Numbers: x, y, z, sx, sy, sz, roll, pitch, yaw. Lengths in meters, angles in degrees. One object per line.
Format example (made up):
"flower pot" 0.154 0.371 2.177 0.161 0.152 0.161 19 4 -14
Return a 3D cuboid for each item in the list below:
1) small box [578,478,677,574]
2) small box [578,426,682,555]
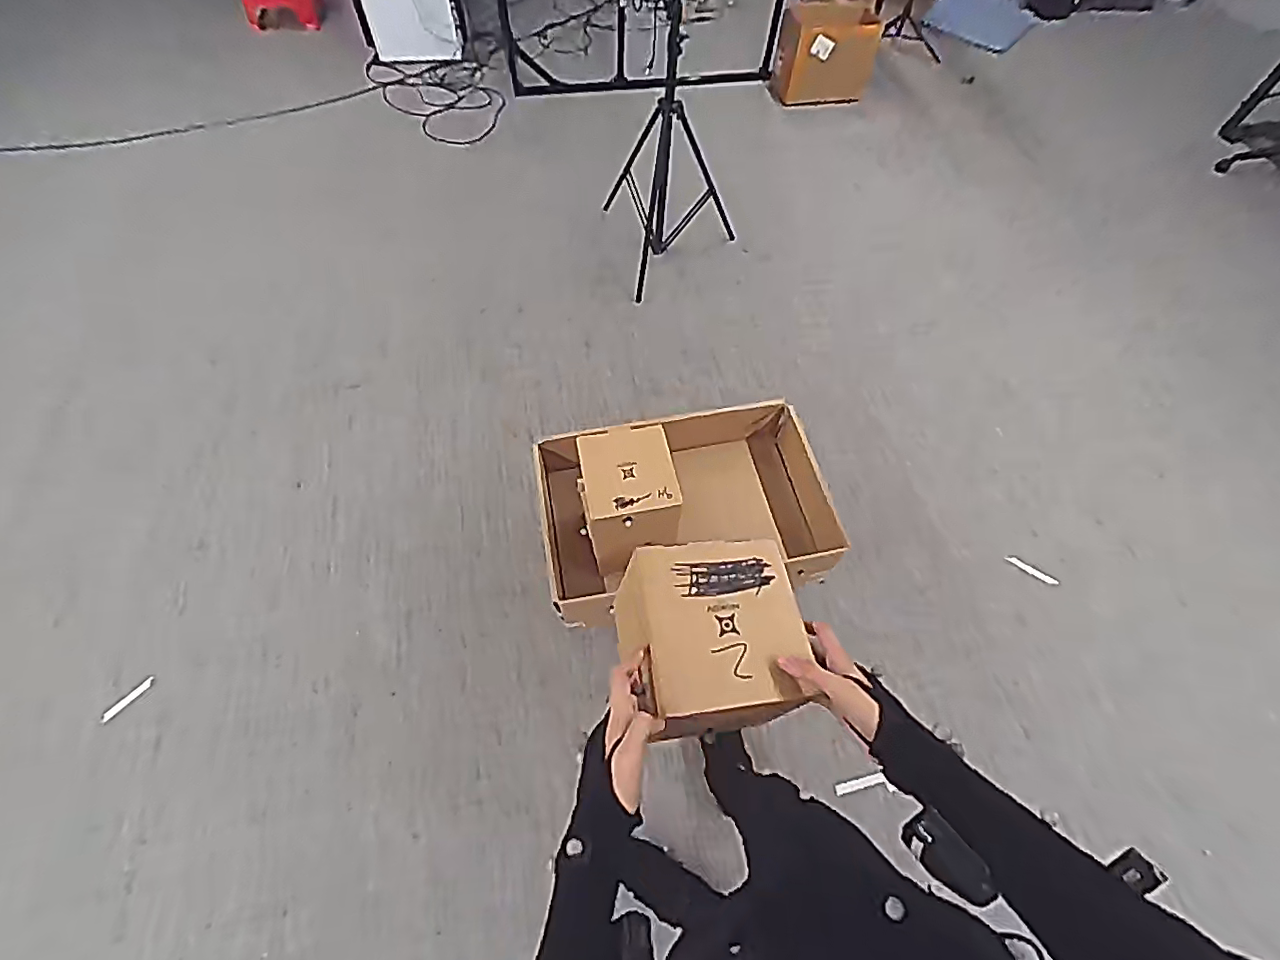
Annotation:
"small box" -0.030 0.086 1.185 0.179 0.176 0.168 -14 61 -9
"small box" -0.024 0.022 1.034 0.168 0.176 0.179 -9 60 -6
